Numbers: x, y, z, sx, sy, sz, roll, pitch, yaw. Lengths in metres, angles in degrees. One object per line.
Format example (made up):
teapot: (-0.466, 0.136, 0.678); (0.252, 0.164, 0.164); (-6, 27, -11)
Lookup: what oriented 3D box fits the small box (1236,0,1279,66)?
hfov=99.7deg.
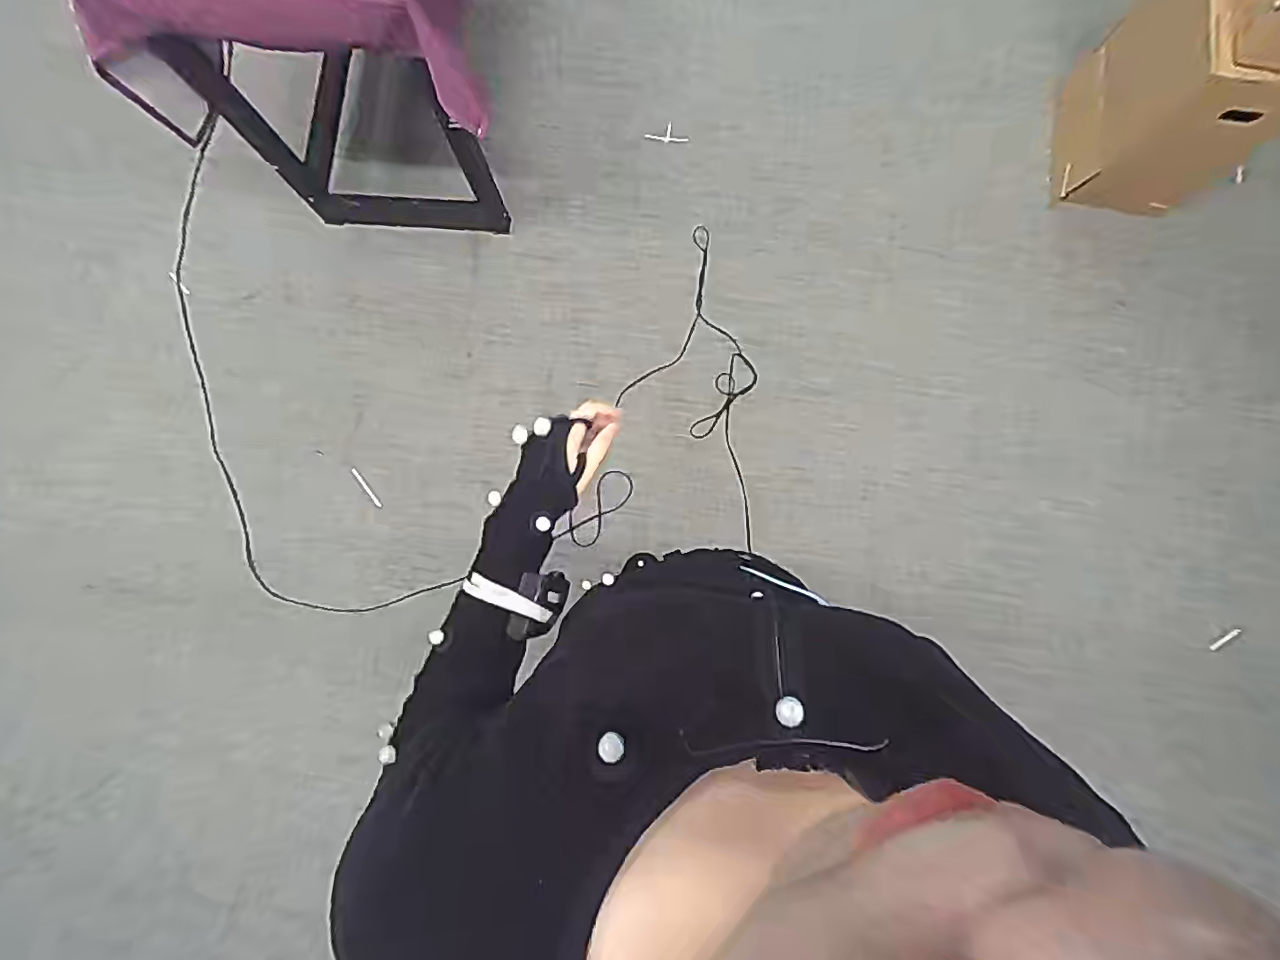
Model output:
small box: (1.392, -0.988, 1.108); (0.179, 0.176, 0.168); (11, 81, 2)
